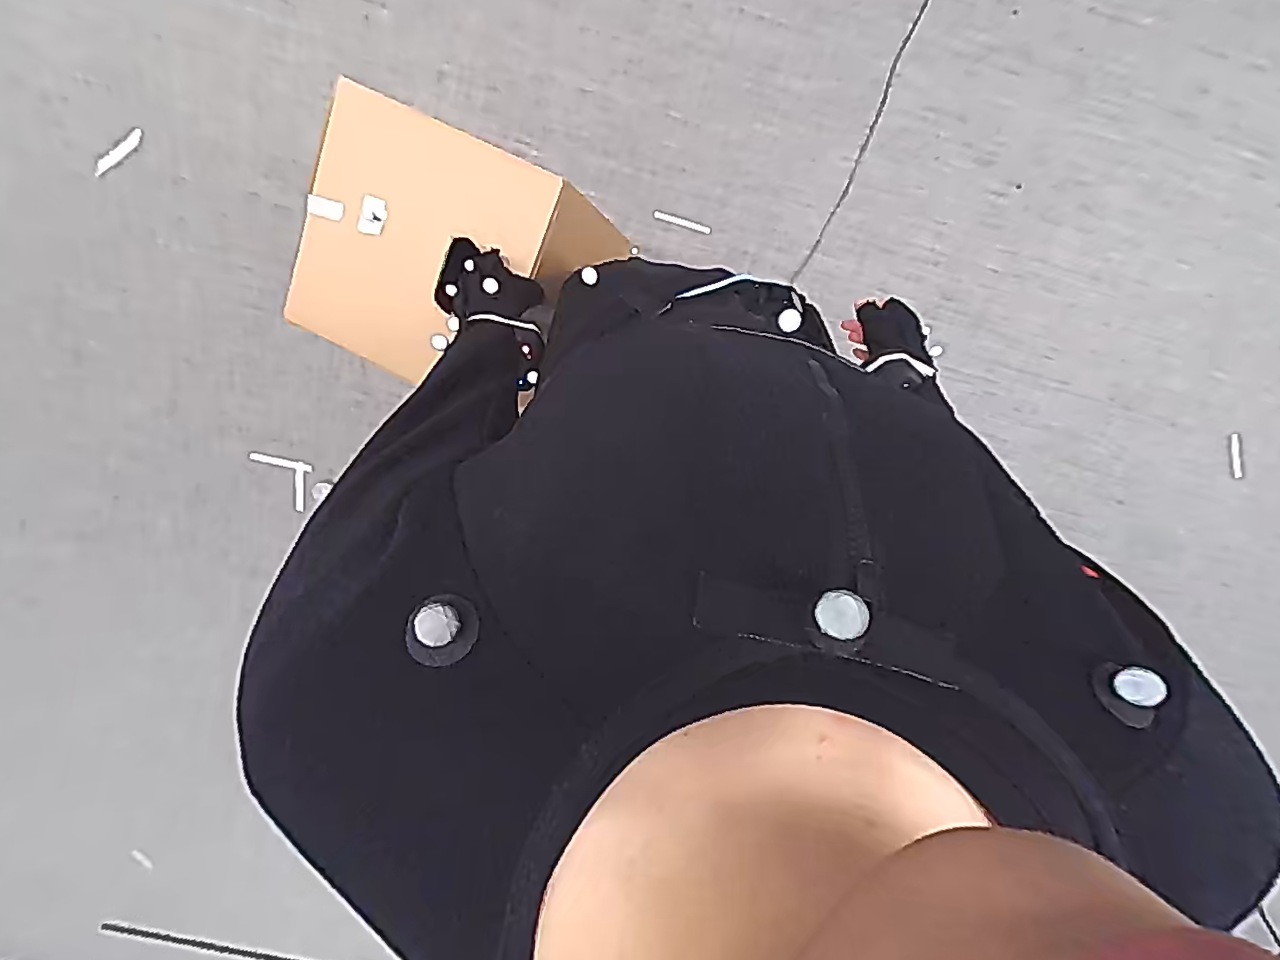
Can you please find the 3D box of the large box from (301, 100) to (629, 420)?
[{"bbox_3d":[-0.251,-0.327,0.885,0.320,0.408,0.320,28,107,2],"label":"large box"}]
